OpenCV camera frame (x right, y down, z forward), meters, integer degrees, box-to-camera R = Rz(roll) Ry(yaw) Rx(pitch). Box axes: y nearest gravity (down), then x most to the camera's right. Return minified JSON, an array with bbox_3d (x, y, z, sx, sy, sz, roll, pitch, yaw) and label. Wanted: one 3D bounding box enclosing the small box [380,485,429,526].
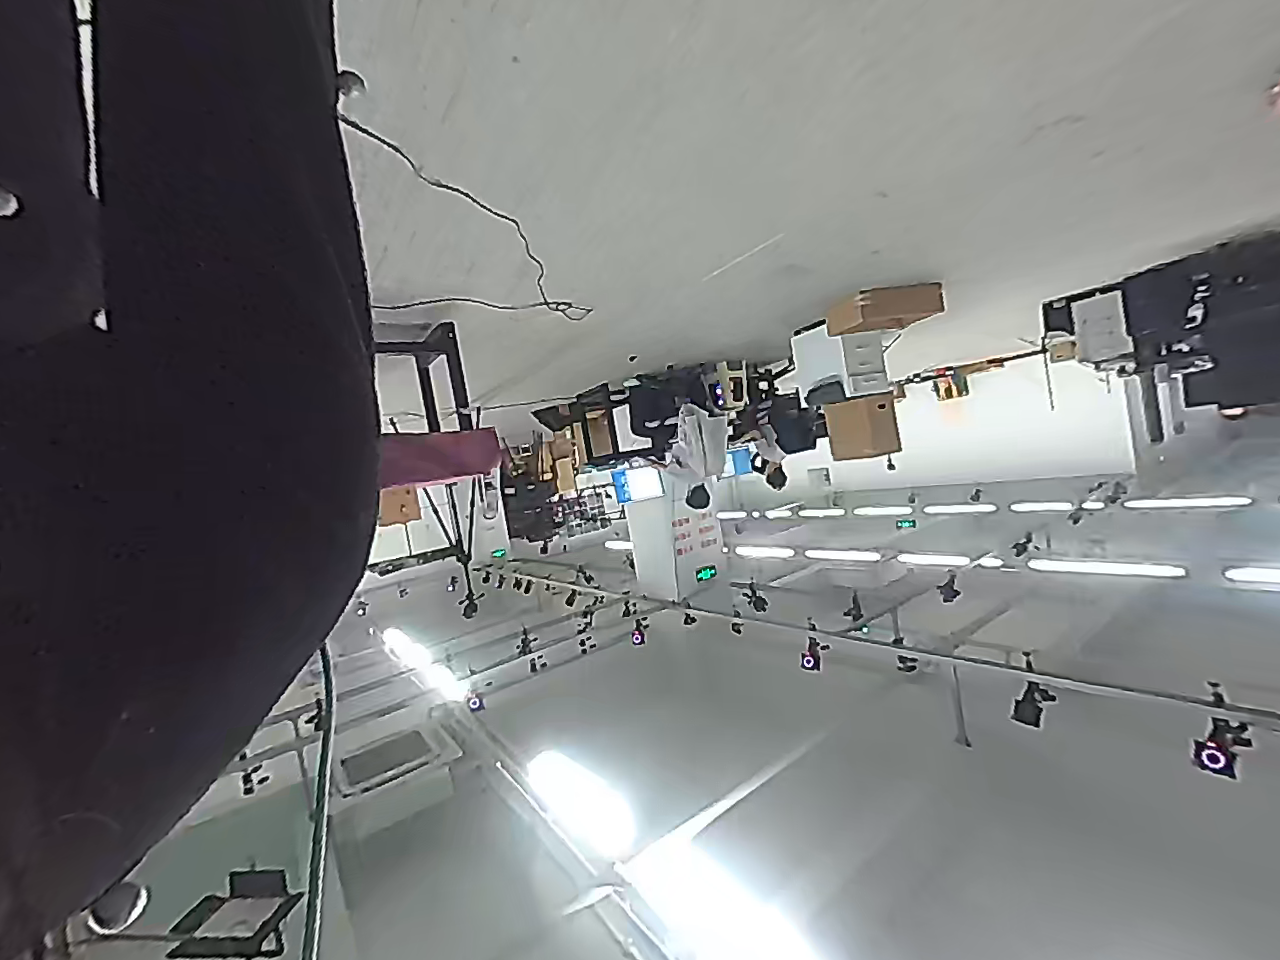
[{"bbox_3d":[-1.134,0.118,2.591,0.168,0.176,0.179,-11,-177,-36],"label":"small box"}]
